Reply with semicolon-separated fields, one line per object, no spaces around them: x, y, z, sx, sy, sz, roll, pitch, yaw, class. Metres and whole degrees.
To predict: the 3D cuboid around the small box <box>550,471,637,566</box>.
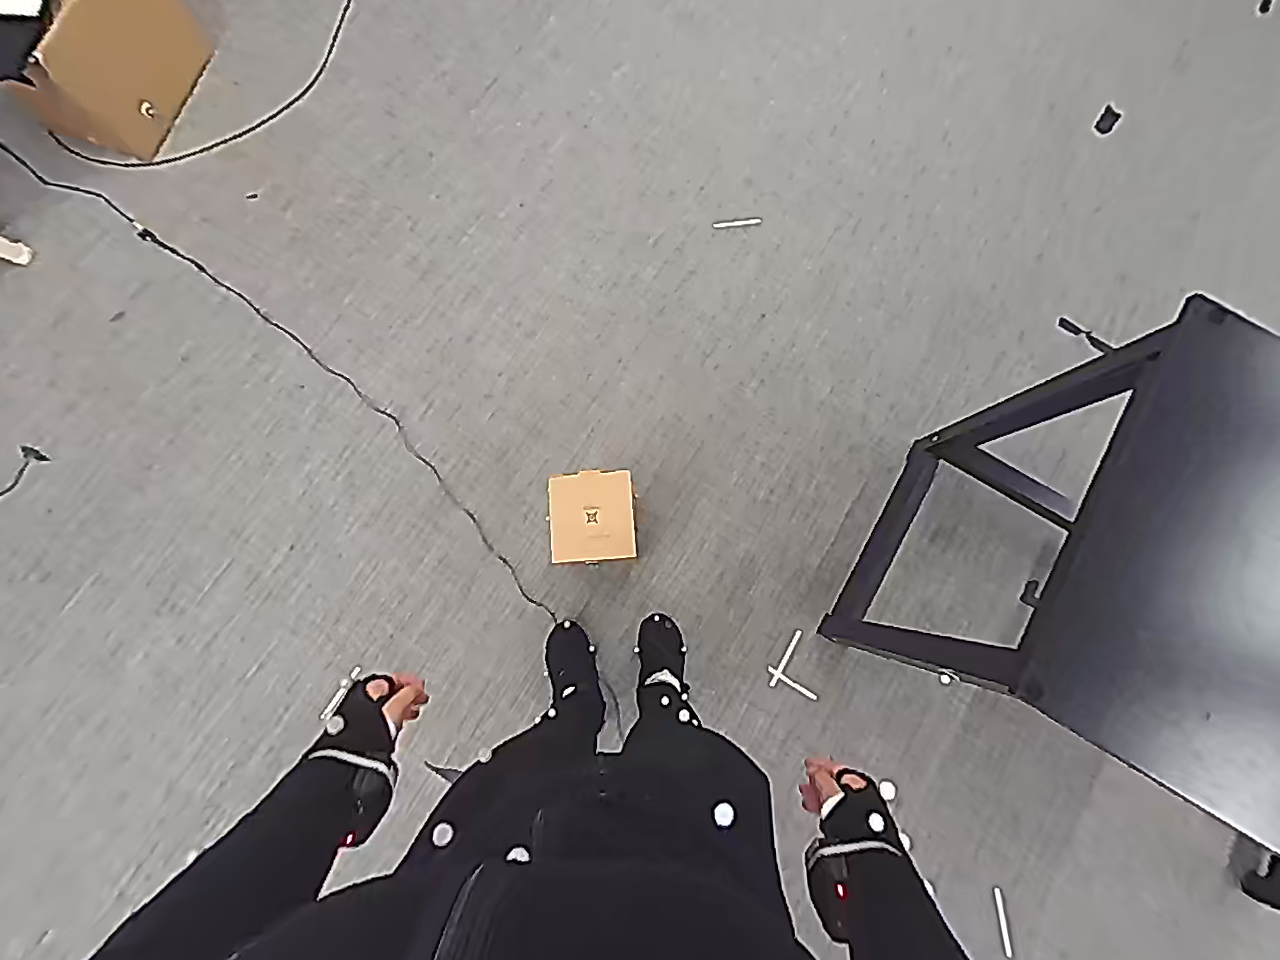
-0.095;0.087;1.145;0.168;0.176;0.179;-5;81;-1;small box
